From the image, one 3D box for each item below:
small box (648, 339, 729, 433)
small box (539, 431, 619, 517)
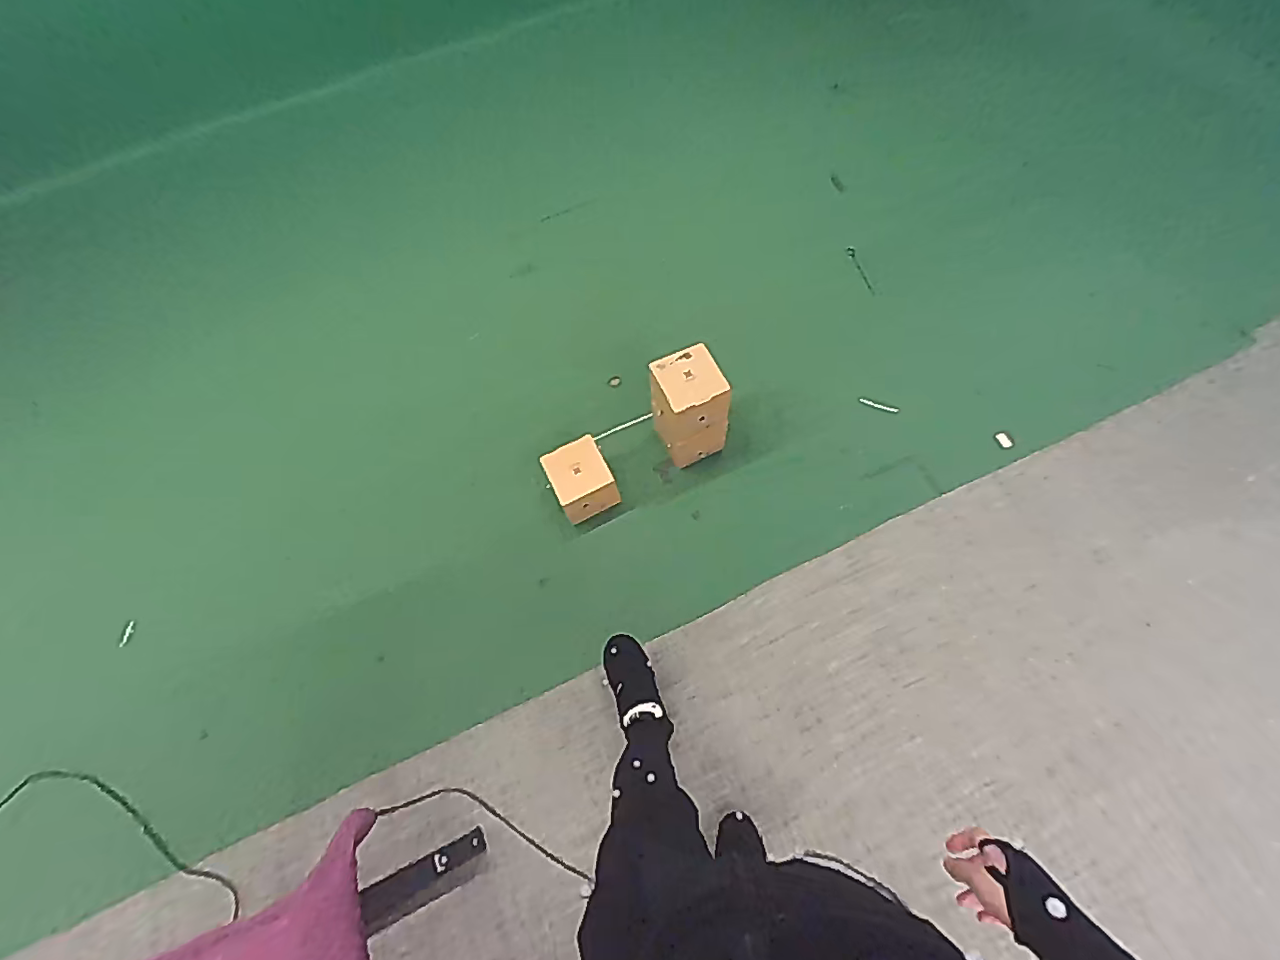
[{"bbox_3d":[0.134,-0.252,1.508,0.168,0.176,0.179,-23,68,-6],"label":"small box"},{"bbox_3d":[-0.175,-0.008,1.608,0.168,0.176,0.179,-27,66,-7],"label":"small box"}]
